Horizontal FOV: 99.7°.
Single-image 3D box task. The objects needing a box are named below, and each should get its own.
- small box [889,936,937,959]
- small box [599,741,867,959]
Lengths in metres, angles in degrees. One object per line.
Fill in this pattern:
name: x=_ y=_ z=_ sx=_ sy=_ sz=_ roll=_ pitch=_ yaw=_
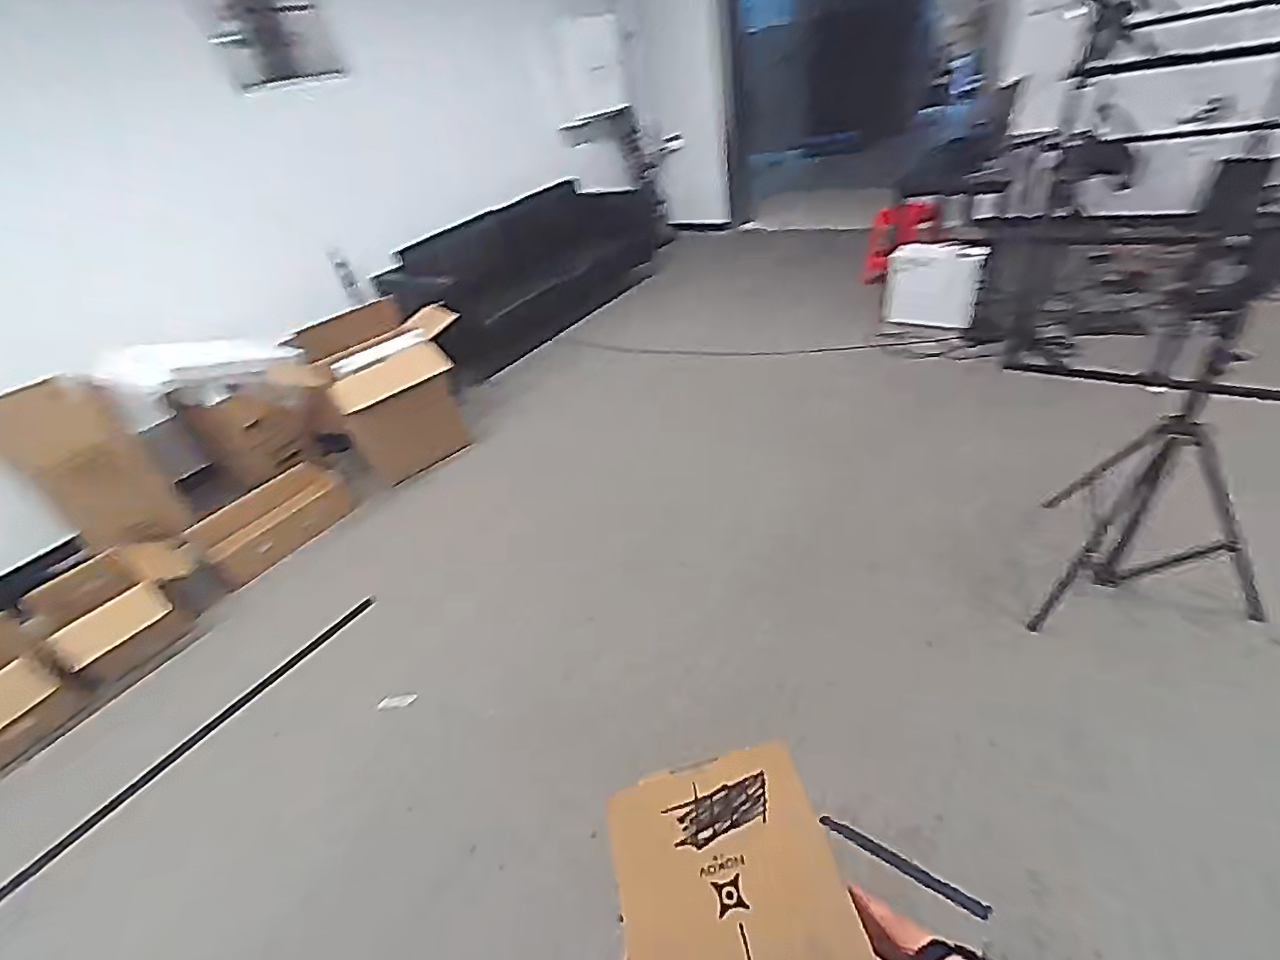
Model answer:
small box: x=0.479 y=0.925 z=0.895 sx=0.168 sy=0.176 sz=0.179 roll=17 pitch=46 yaw=34
small box: x=0.073 y=0.363 z=0.457 sx=0.168 sy=0.176 sz=0.179 roll=-17 pitch=40 yaw=-3
